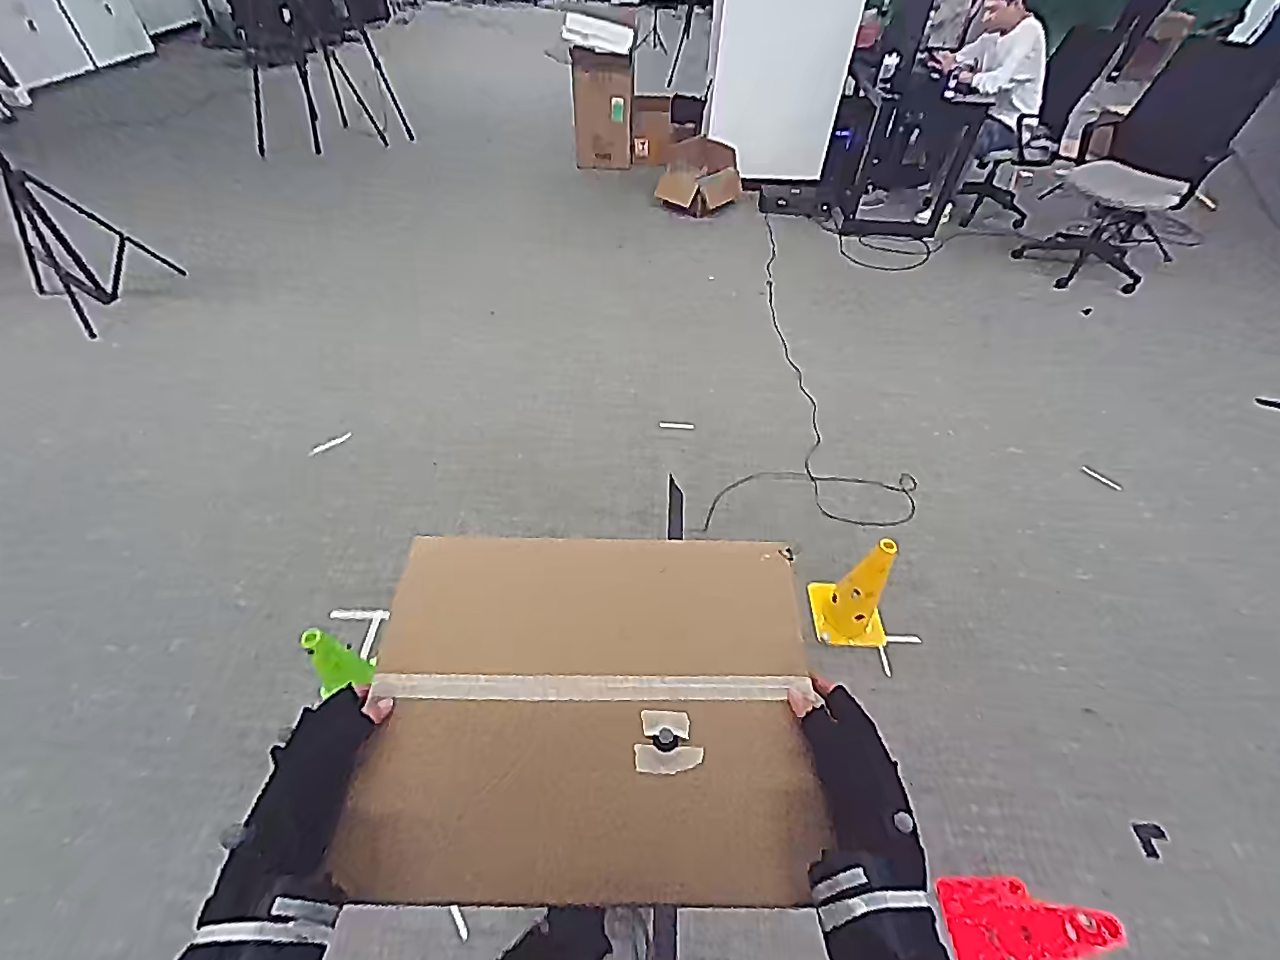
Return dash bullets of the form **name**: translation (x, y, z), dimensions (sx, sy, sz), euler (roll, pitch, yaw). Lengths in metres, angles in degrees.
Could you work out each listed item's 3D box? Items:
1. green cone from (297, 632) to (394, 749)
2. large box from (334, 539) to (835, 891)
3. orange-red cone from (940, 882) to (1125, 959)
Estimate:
- **green cone**: translation (-0.710, 0.455, 1.290), dimensions (0.202, 0.368, 0.200), euler (-27, 53, -22)
- **large box**: translation (-0.047, 0.280, 0.629), dimensions (0.408, 0.320, 0.320), euler (1, 54, -1)
- **orange-red cone**: translation (0.750, 0.838, 0.994), dimensions (0.198, 0.360, 0.199), euler (2, 46, -1)
